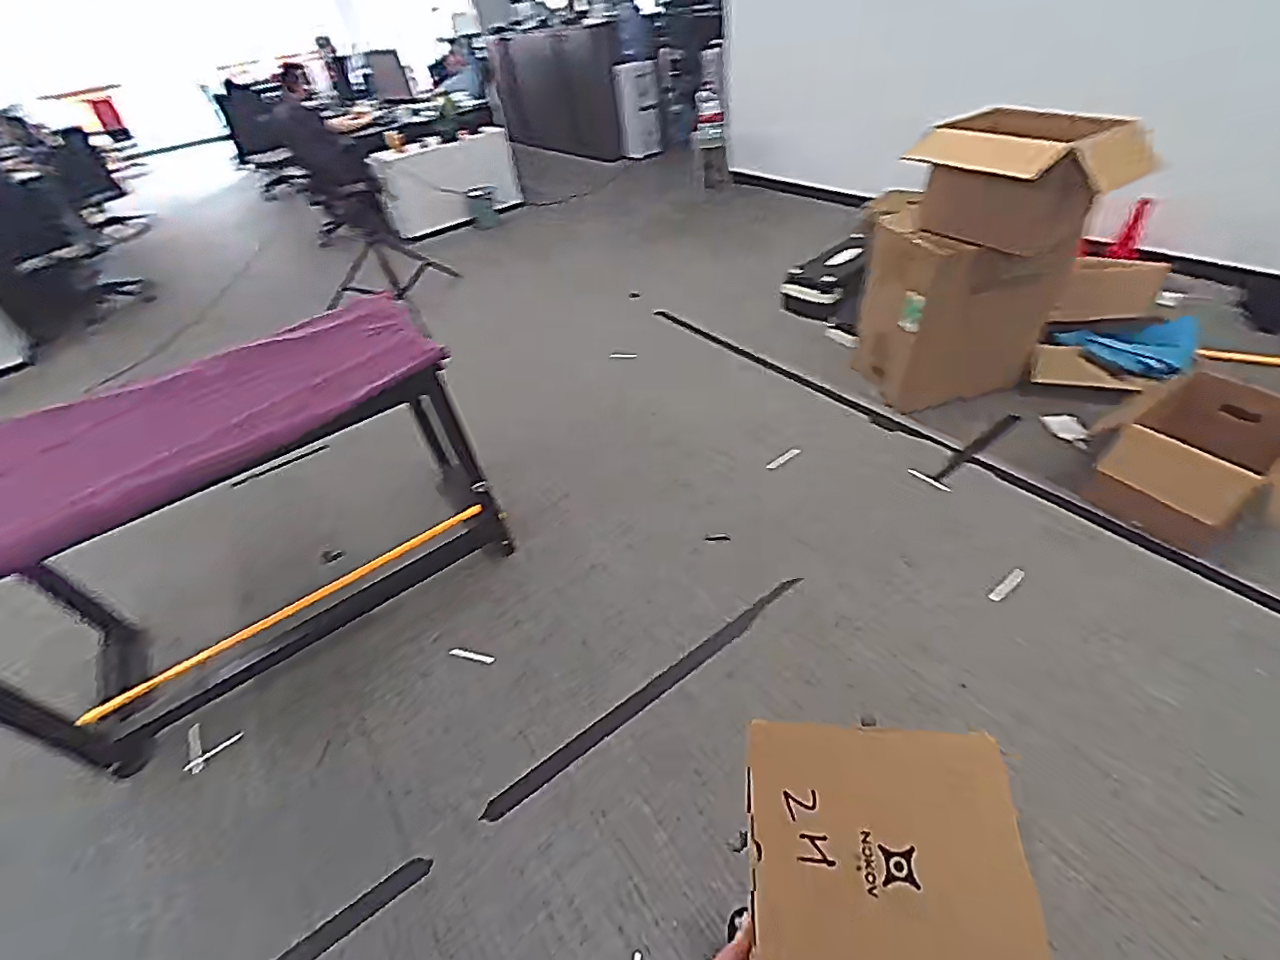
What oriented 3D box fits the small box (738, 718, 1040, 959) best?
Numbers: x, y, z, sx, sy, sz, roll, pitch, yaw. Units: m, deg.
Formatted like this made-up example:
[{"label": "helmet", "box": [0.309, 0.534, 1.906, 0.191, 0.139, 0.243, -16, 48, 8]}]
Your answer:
[{"label": "small box", "box": [0.169, 0.292, 0.428, 0.179, 0.176, 0.168, -2, 58, 9]}]
